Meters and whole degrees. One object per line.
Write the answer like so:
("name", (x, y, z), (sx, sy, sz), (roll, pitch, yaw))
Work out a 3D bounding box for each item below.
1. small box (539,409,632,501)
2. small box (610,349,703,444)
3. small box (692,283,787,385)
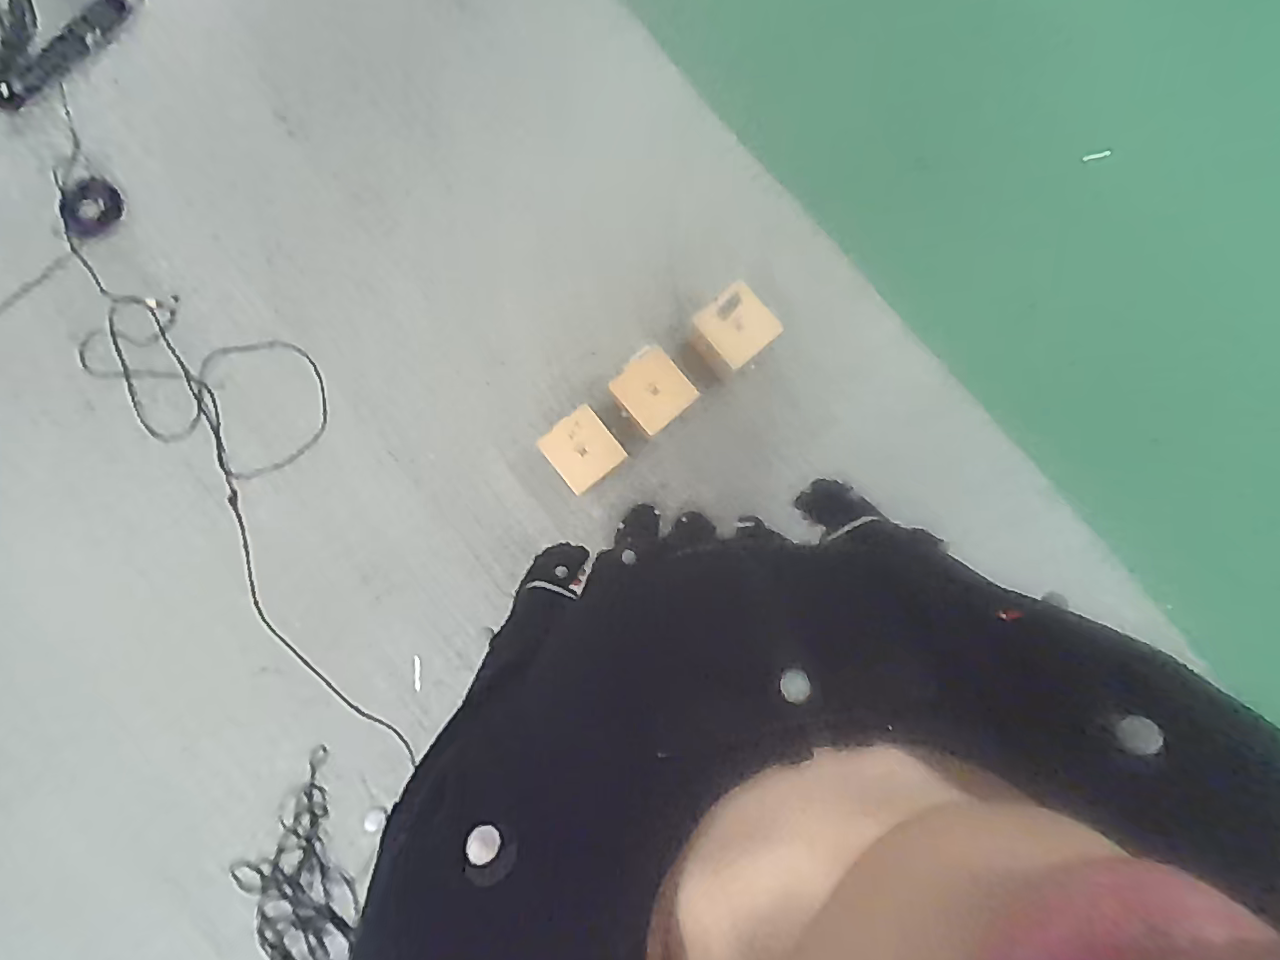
("small box", (-0.133, -0.061, 1.421), (0.168, 0.176, 0.179), (-39, 86, 0))
("small box", (0.045, -0.209, 1.423), (0.168, 0.176, 0.179), (-41, 86, 0))
("small box", (0.251, -0.374, 1.421), (0.168, 0.176, 0.179), (-40, 87, 0))
